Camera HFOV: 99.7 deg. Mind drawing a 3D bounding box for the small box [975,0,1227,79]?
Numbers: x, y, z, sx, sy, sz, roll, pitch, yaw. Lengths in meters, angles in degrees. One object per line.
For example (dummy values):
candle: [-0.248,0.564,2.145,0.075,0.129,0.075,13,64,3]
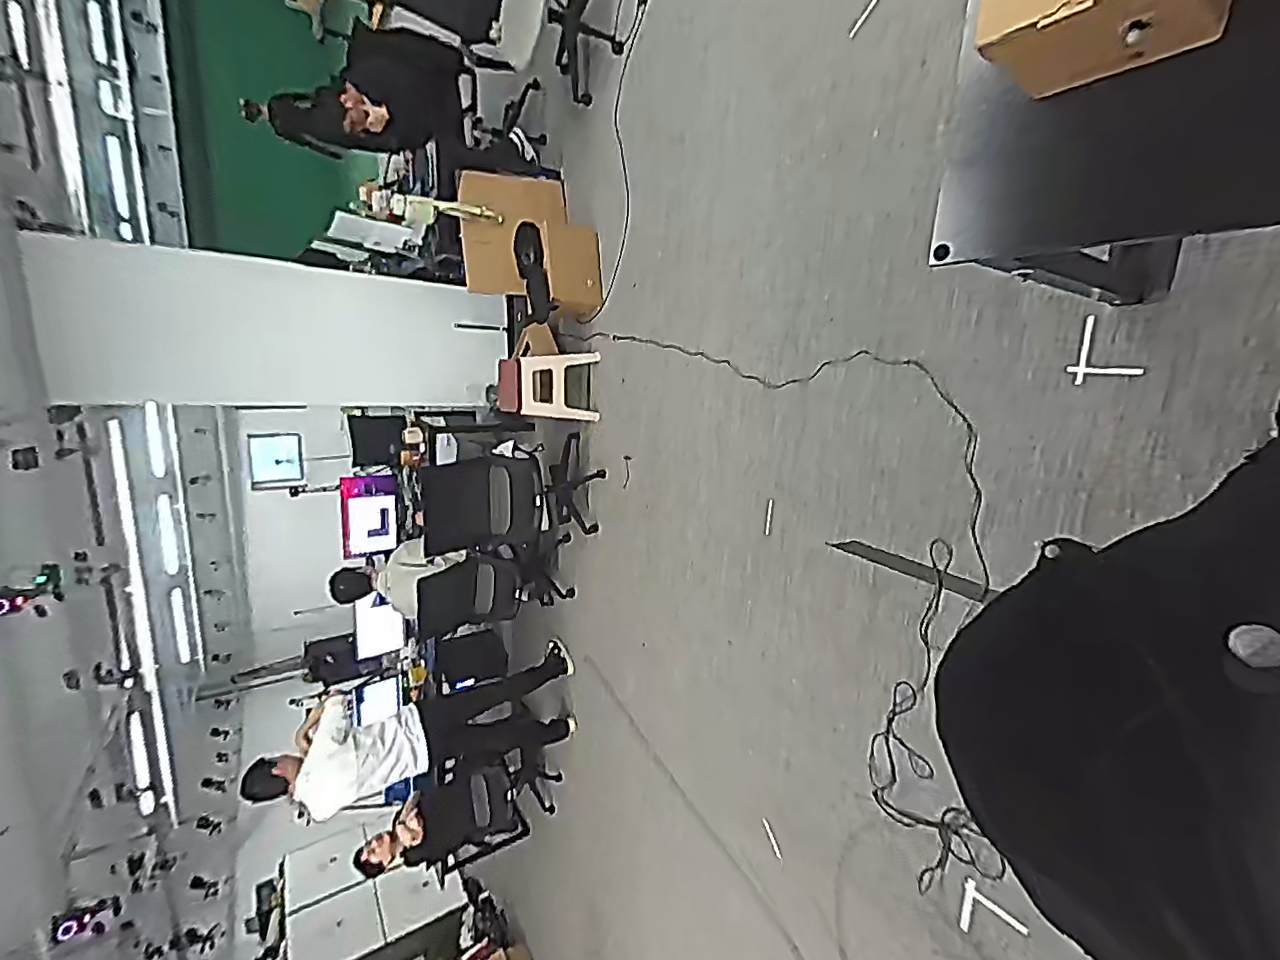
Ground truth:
small box: [0.473,-0.541,0.540,0.168,0.176,0.179,18,108,53]
